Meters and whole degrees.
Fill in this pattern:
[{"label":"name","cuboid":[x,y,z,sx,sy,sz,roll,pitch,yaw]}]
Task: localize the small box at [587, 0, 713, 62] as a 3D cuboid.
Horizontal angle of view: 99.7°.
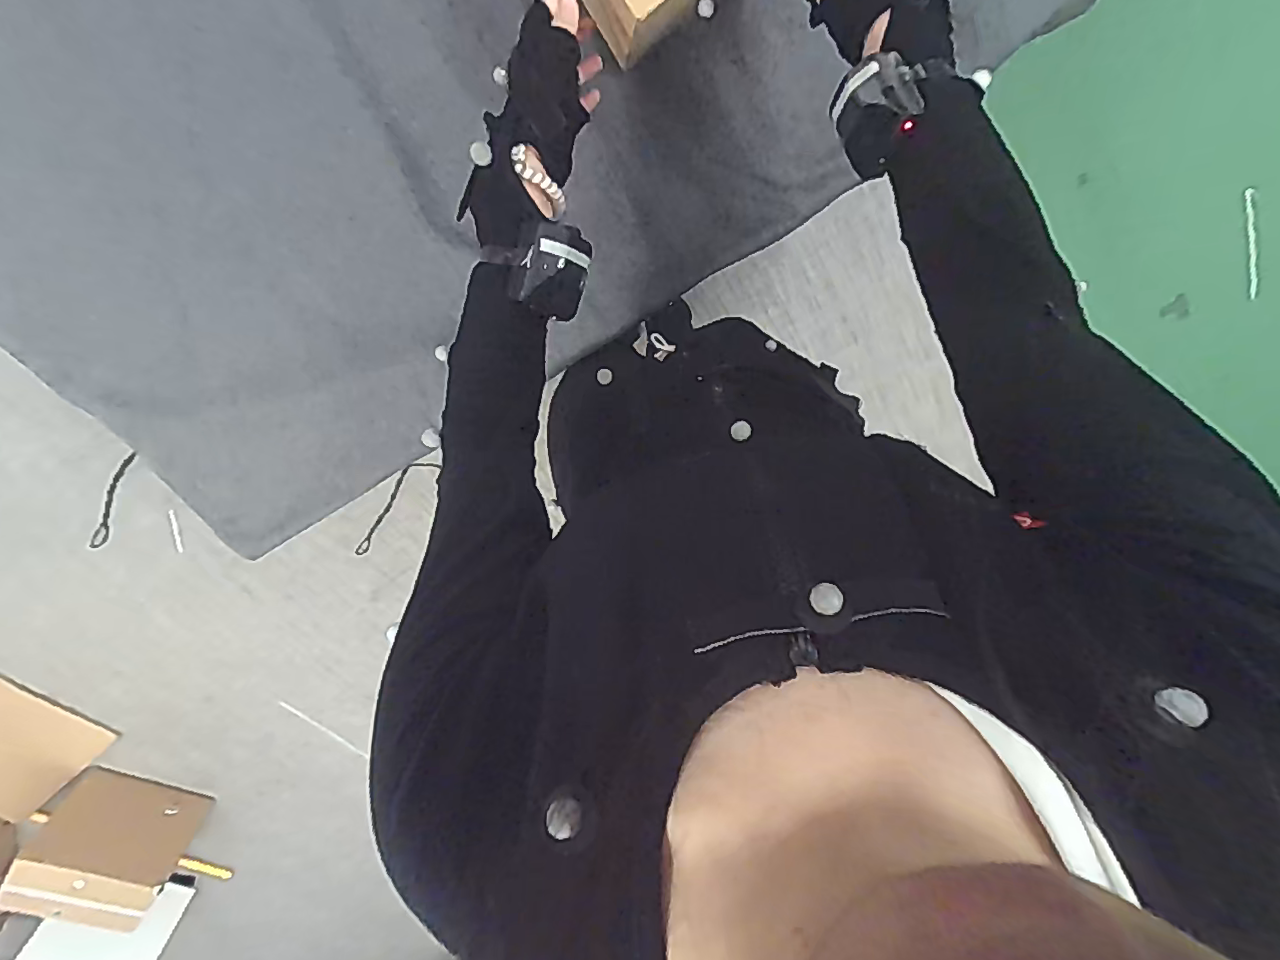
[{"label":"small box","cuboid":[0.009,-0.481,0.421,0.168,0.176,0.179,-34,114,12]}]
